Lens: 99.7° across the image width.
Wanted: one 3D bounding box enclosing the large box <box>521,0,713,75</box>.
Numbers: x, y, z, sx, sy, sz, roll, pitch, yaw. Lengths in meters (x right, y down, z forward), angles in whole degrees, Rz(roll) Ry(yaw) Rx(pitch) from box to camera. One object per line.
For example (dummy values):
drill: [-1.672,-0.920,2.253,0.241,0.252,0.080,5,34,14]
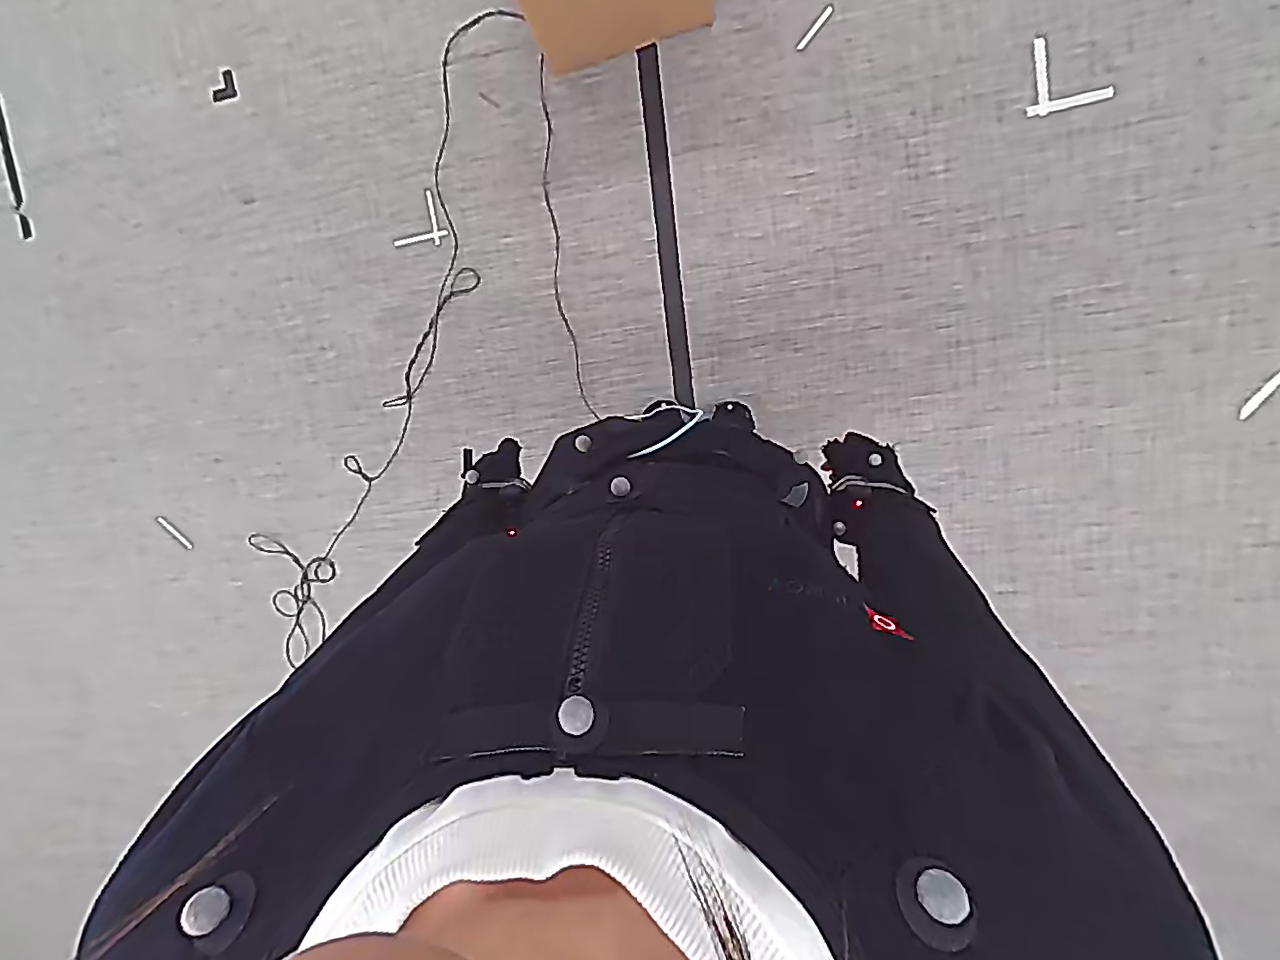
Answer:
large box: [-0.073,-1.157,1.135,0.408,0.320,0.320,-13,98,8]
